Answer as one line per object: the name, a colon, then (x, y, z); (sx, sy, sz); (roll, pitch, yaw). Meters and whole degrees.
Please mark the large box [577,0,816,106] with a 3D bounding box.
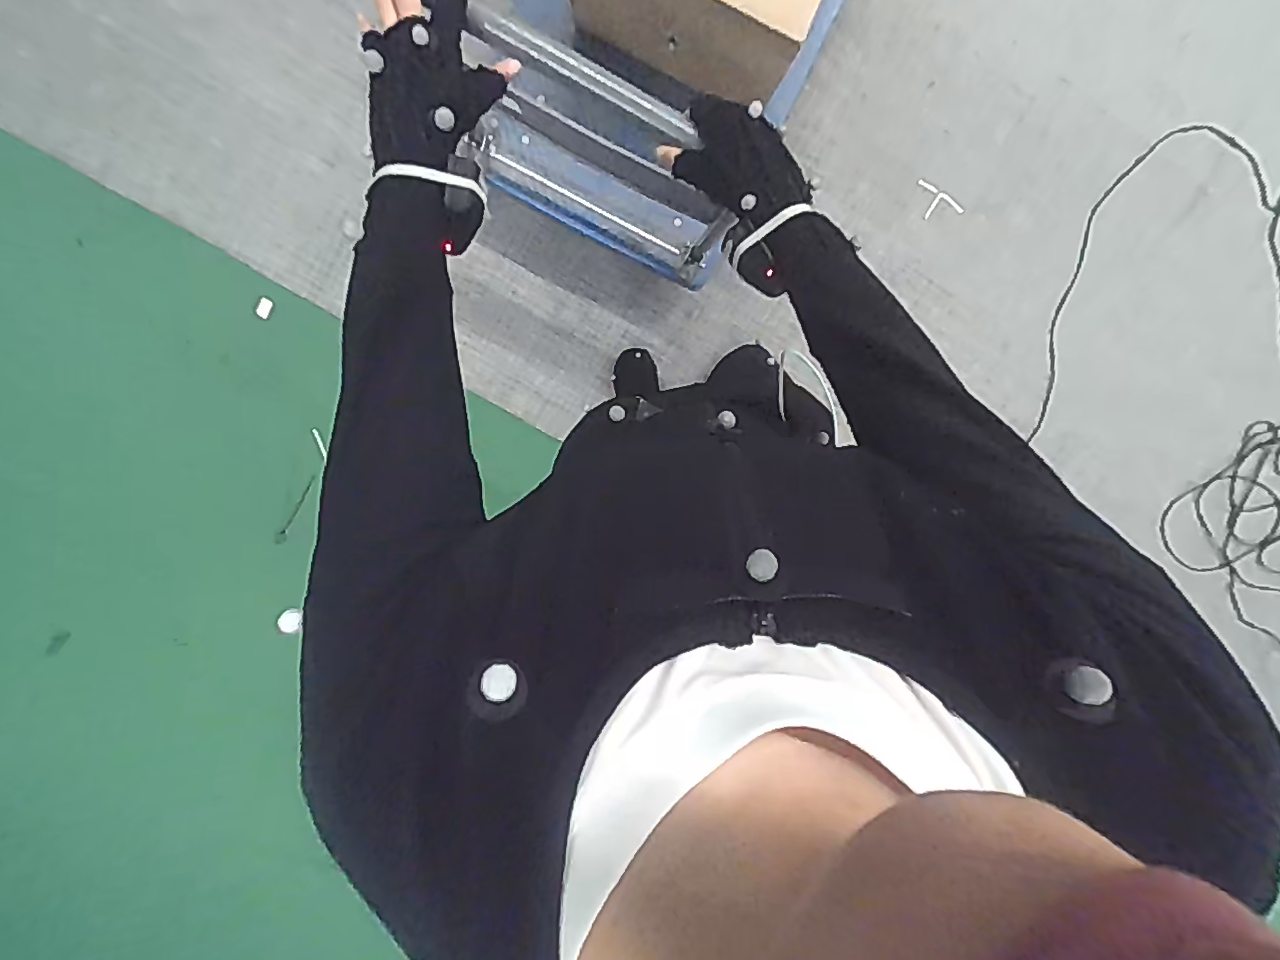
large box: (0.120, -0.924, 0.908); (0.408, 0.320, 0.320); (22, 104, -6)
